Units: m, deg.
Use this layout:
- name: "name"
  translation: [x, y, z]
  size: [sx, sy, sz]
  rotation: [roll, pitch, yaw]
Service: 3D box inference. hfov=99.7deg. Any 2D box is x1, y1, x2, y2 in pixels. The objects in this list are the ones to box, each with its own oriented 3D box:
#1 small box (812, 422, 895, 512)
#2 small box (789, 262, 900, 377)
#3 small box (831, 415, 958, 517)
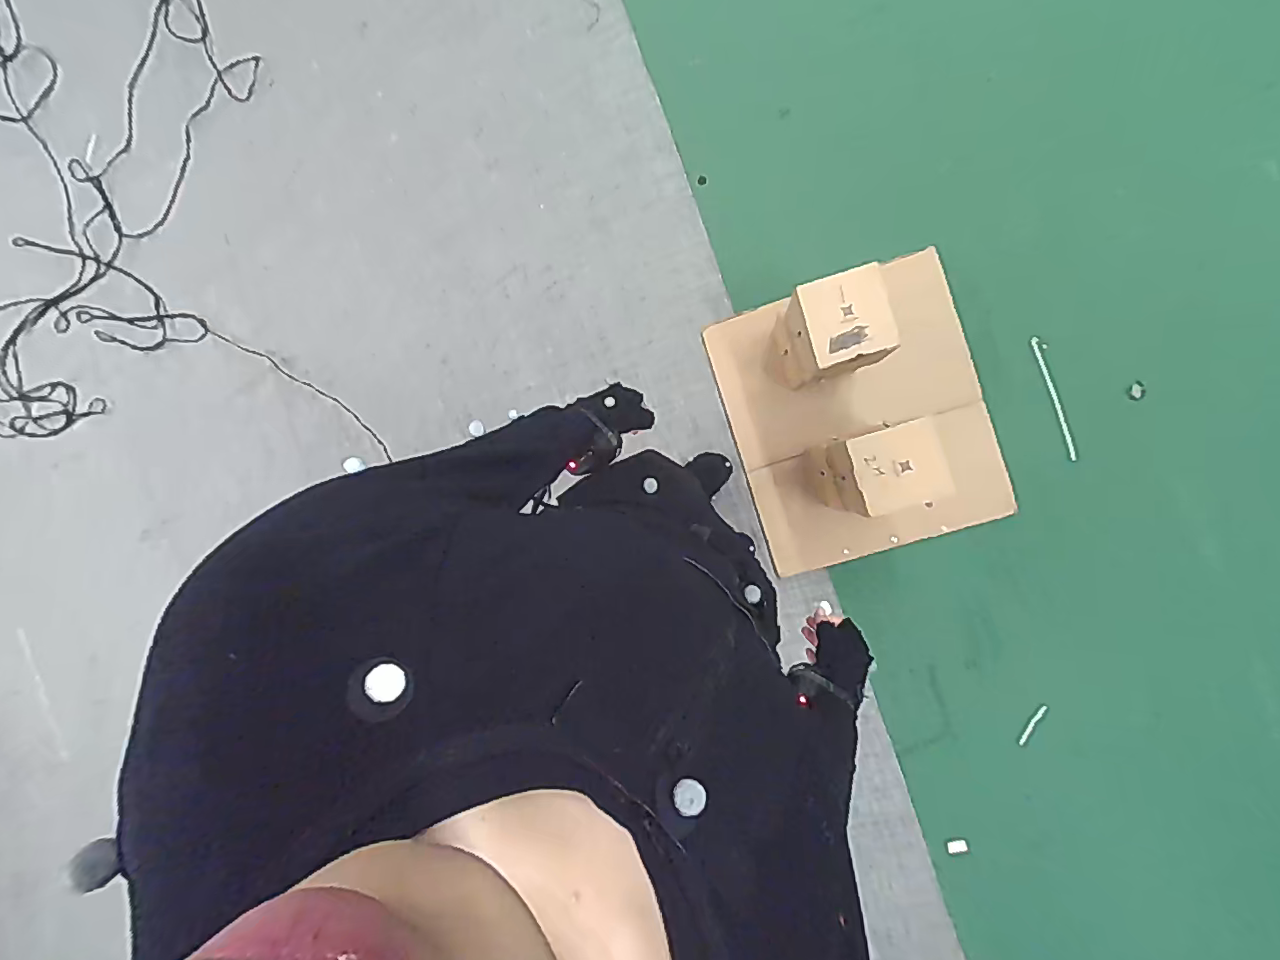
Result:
- name: "small box"
  translation: [0.538, -0.034, 1.307]
  size: [0.179, 0.176, 0.168]
  rotation: [-19, 89, 9]
- name: "small box"
  translation: [0.423, -0.326, 1.143]
  size: [0.168, 0.176, 0.179]
  rotation: [-15, 88, 8]
- name: "small box"
  translation: [0.526, -0.030, 1.142]
  size: [0.179, 0.176, 0.168]
  rotation: [-17, 89, 9]
